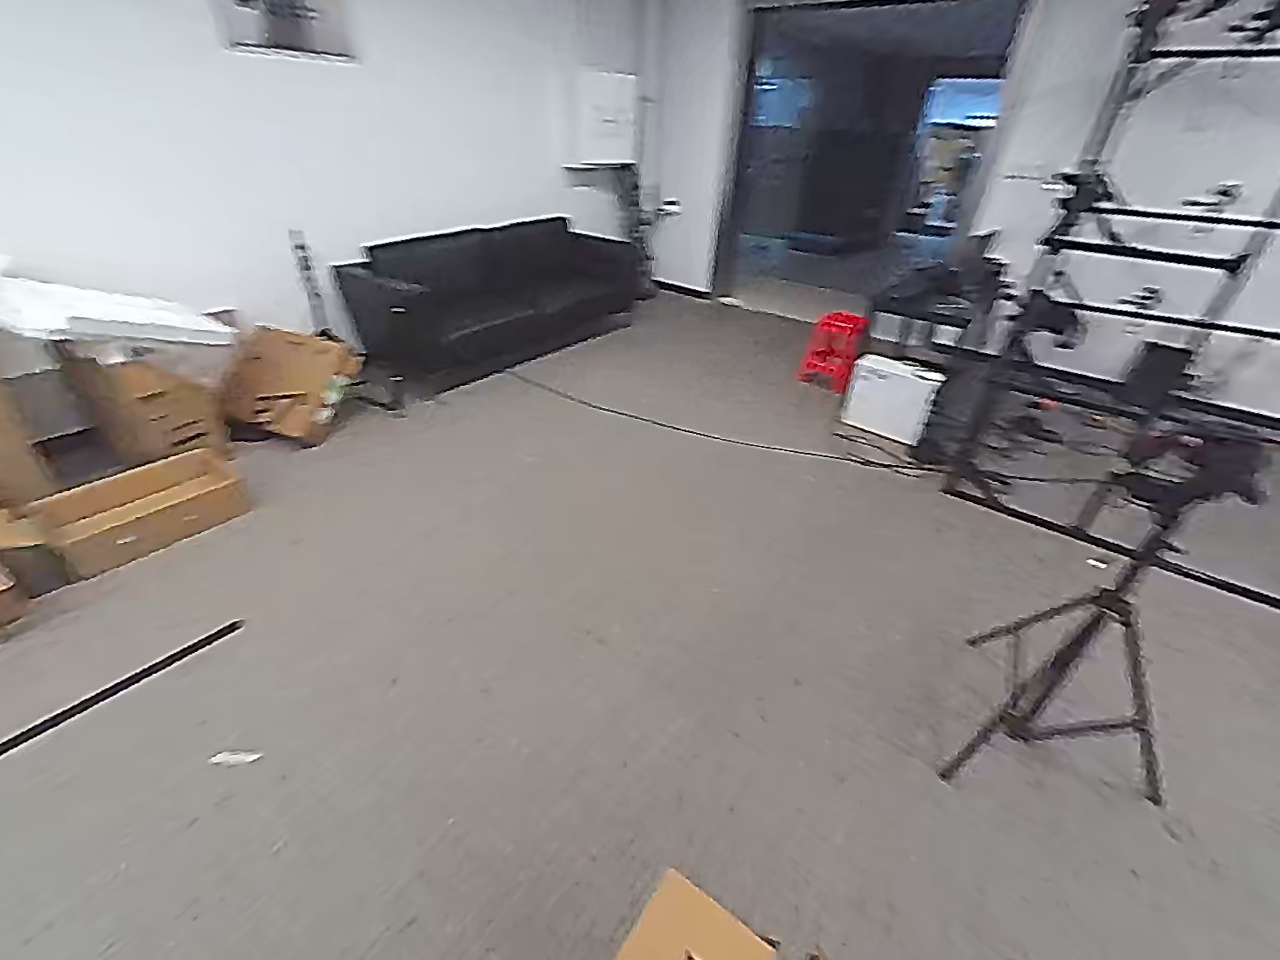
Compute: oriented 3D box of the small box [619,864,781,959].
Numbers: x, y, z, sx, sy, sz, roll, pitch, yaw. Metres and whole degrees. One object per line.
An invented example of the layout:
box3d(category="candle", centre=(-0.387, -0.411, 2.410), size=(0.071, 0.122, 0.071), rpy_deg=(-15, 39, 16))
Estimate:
box3d(category="small box", centre=(0.070, 0.685, 0.730), size=(0.168, 0.176, 0.179), rpy_deg=(21, 40, 30))
